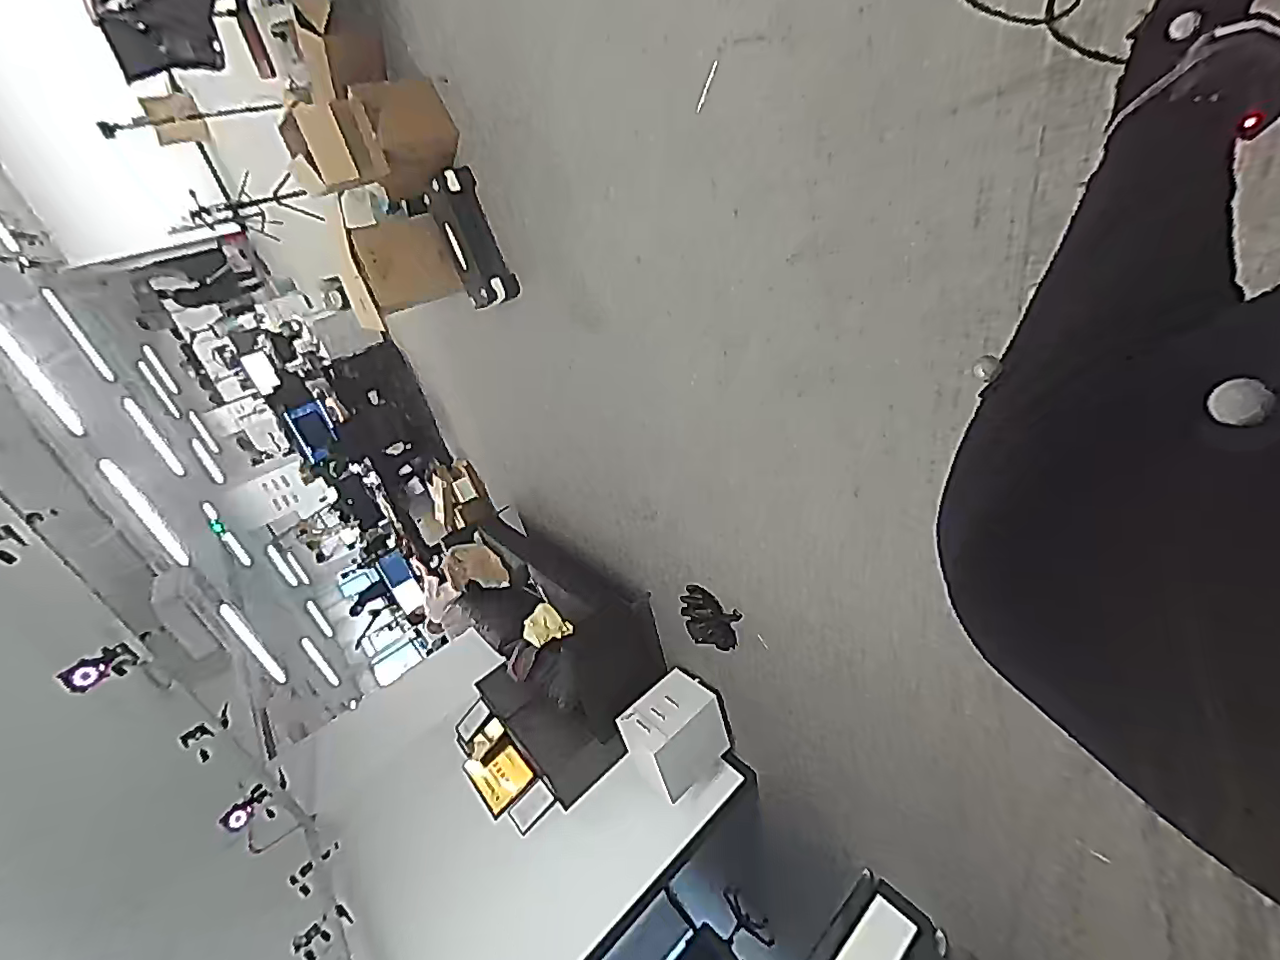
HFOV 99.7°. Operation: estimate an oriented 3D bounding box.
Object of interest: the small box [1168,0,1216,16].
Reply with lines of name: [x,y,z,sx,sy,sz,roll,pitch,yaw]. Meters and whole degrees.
small box: [0.754,-0.705,0.638,0.168,0.176,0.179,4,121,58]
